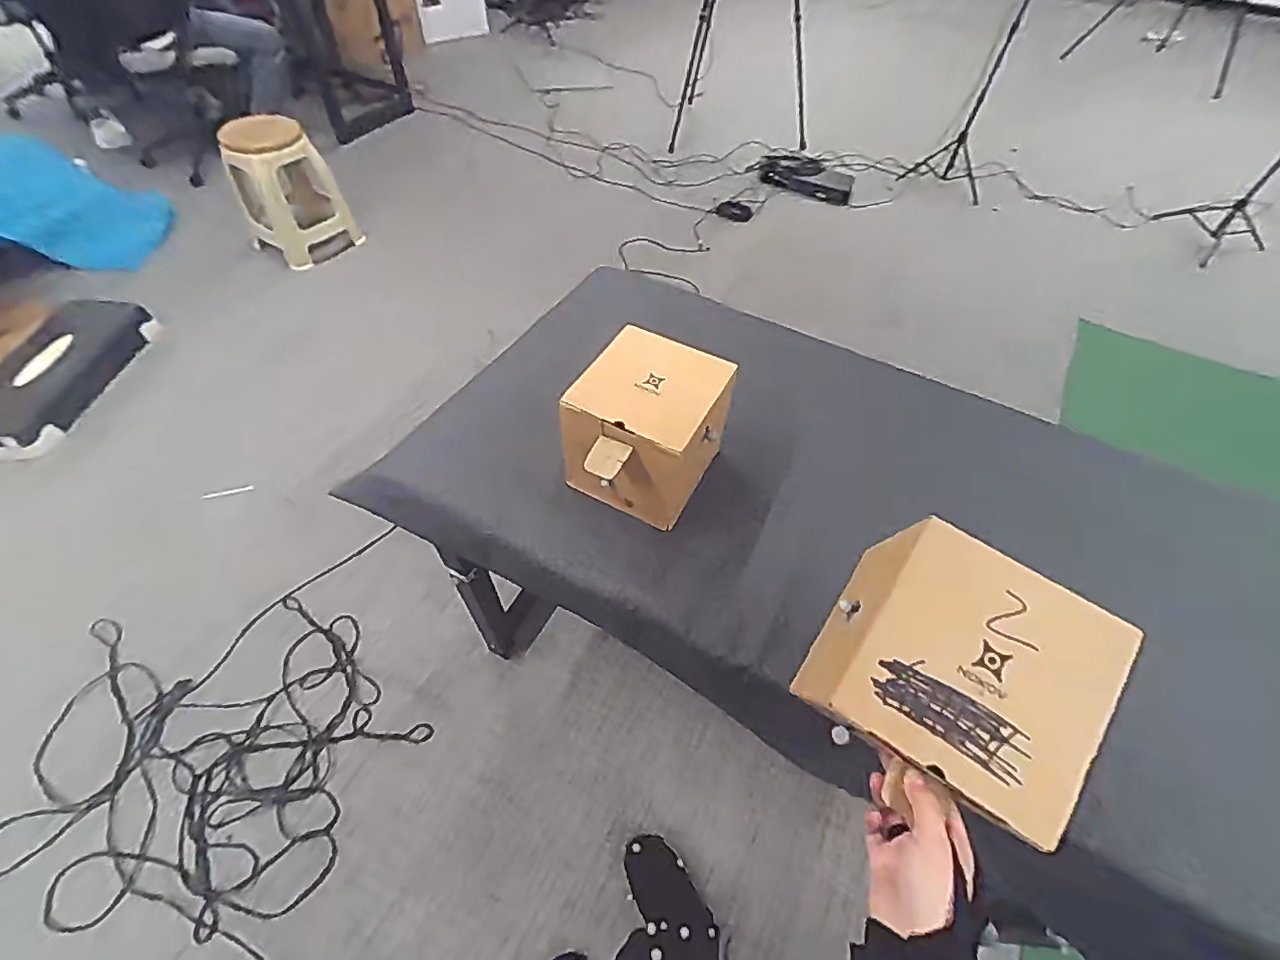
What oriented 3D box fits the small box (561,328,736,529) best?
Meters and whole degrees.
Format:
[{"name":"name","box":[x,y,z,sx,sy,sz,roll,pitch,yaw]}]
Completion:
[{"name":"small box","box":[0.009,-0.067,0.731,0.168,0.176,0.179,24,56,14]}]
